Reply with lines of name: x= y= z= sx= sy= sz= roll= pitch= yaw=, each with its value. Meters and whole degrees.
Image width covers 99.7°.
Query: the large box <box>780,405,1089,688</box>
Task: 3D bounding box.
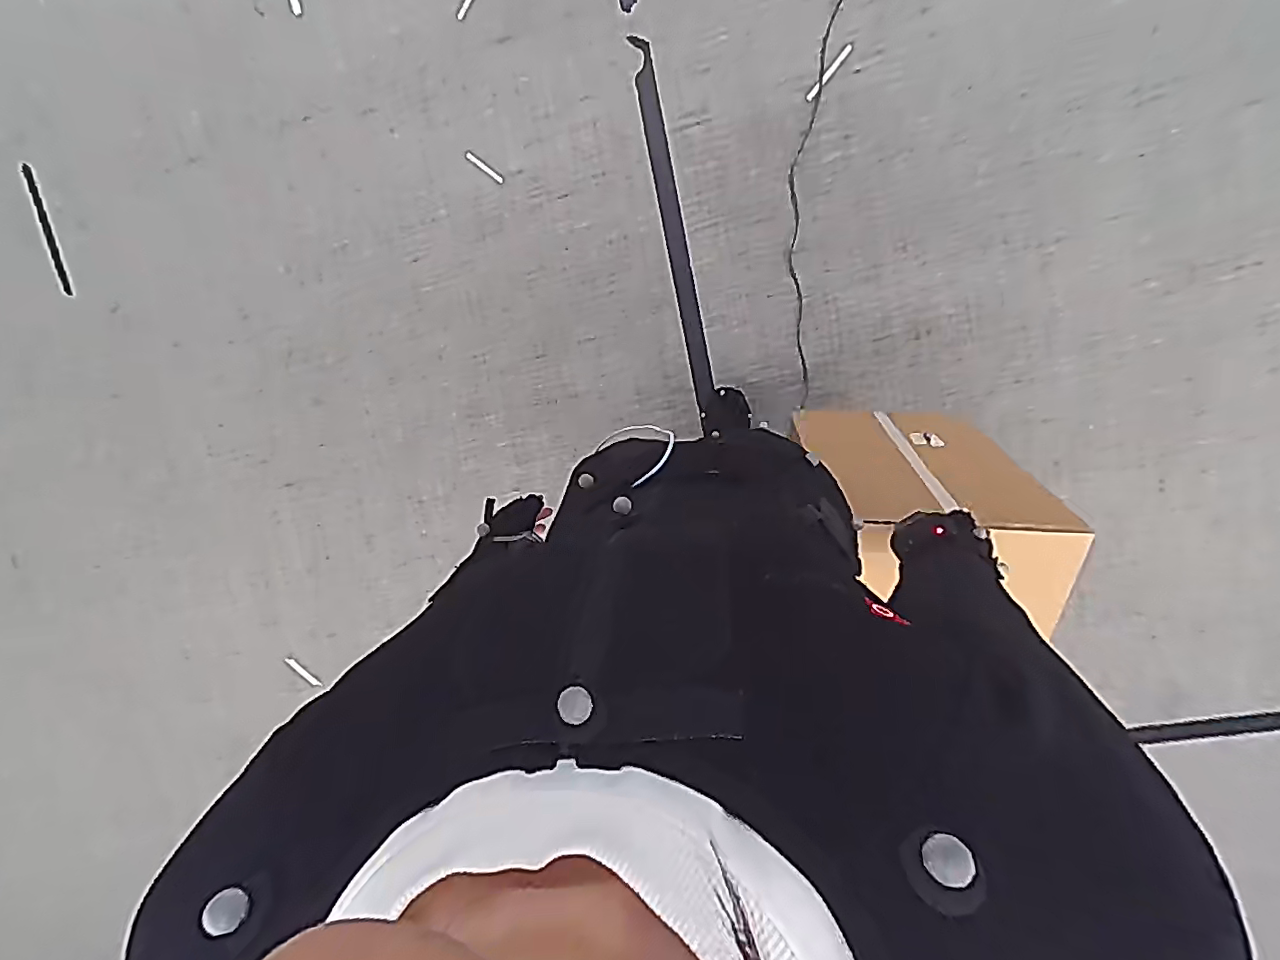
large box: x=0.428 y=0.089 z=0.919 sx=0.320 sy=0.408 sz=0.320 roll=3 pitch=118 yaw=6
